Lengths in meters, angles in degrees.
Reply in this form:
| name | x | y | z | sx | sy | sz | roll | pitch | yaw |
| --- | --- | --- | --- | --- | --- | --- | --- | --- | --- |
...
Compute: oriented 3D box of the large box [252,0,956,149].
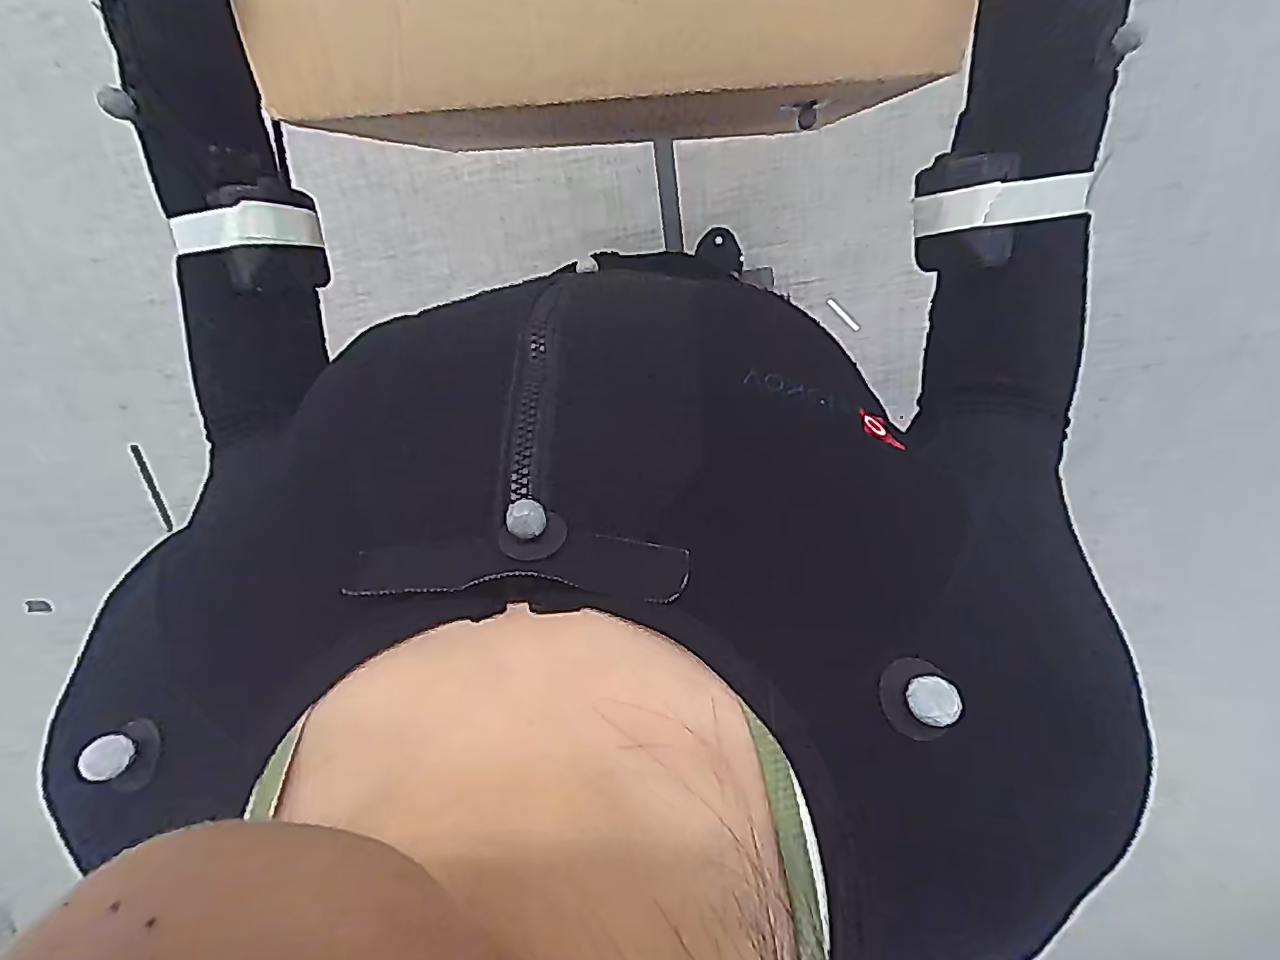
| name | x | y | z | sx | sy | sz | roll | pitch | yaw |
| --- | --- | --- | --- | --- | --- | --- | --- | --- | --- |
| large box | -0.023 | -0.432 | 0.384 | 0.408 | 0.320 | 0.320 | -2 | 118 | 2 |
